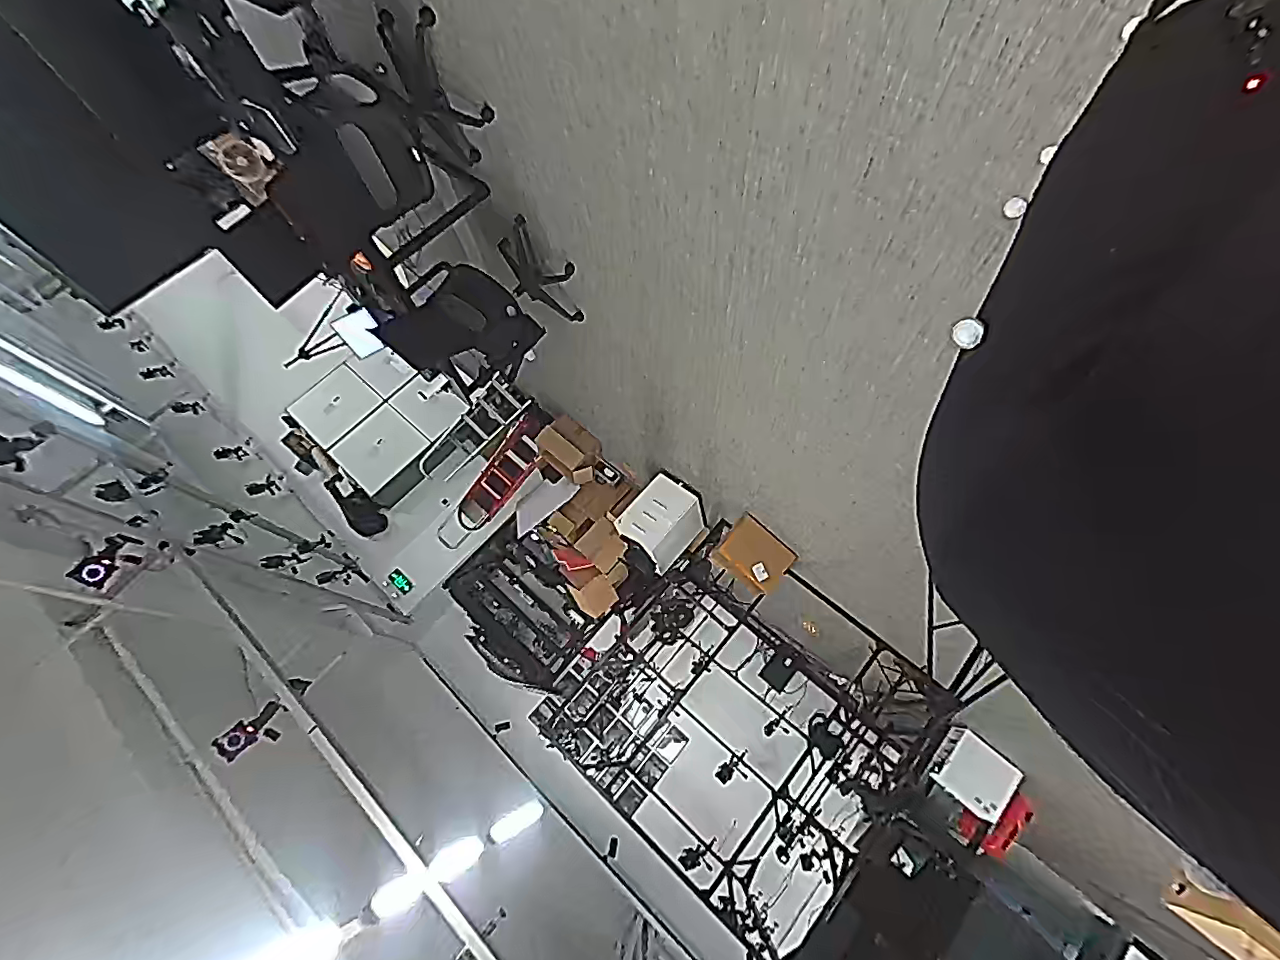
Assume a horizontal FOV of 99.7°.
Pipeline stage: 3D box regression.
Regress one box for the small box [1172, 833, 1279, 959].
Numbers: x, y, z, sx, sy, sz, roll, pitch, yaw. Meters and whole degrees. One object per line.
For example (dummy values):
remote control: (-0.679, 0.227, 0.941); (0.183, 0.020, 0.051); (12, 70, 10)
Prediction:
small box: (1.130, 0.769, 0.960); (0.168, 0.176, 0.179); (37, 165, 22)
